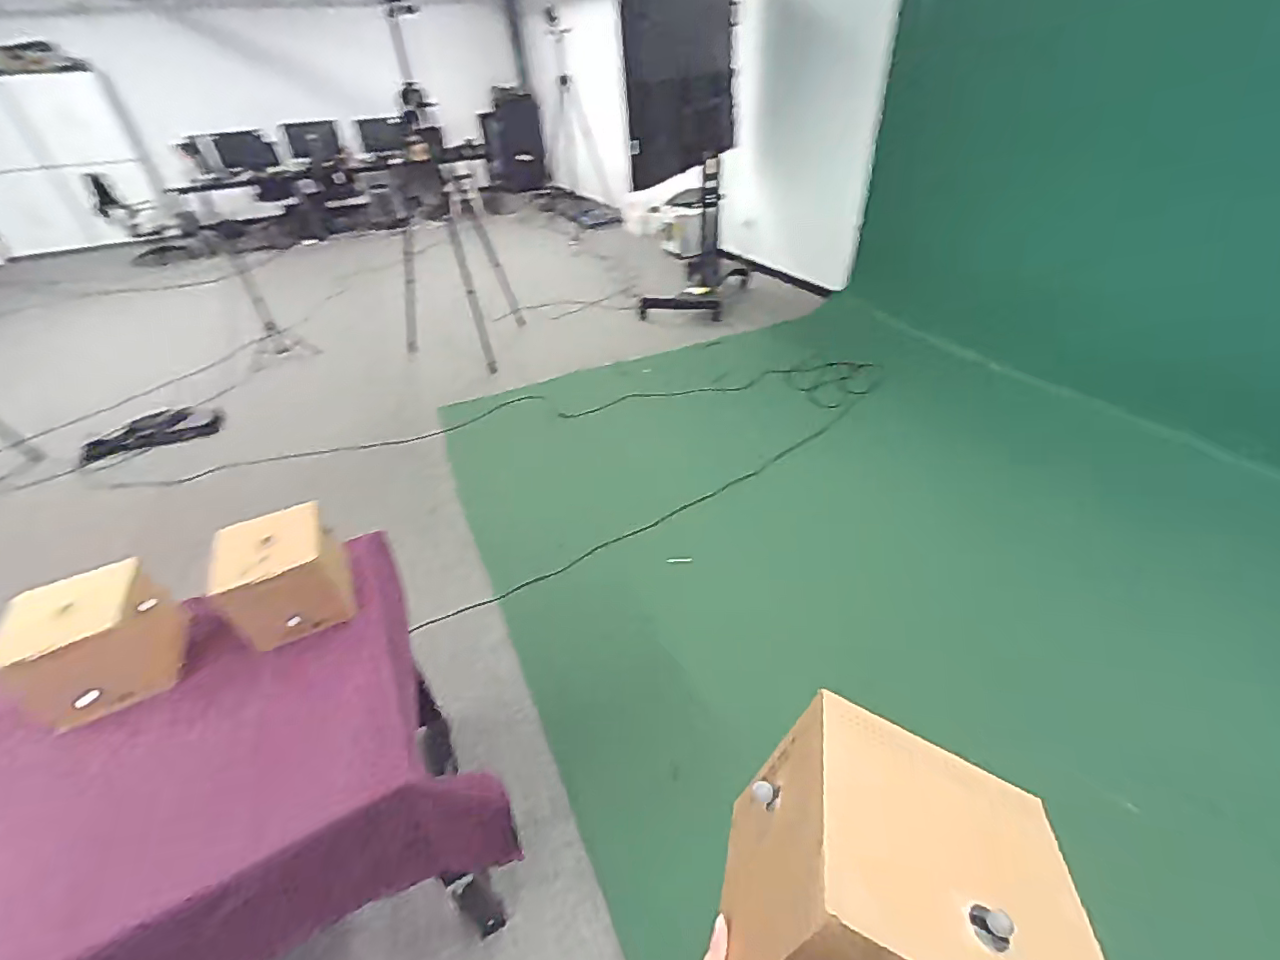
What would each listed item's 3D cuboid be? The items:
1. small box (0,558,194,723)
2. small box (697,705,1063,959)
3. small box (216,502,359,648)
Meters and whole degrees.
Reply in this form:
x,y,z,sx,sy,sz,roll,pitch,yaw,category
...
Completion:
x,y,z,sx,sy,sz,roll,pitch,yaw,category
-0.906,0.272,0.924,0.168,0.176,0.179,-21,41,-20,small box
0.156,0.296,0.376,0.179,0.168,0.176,25,27,6,small box
-0.647,0.176,1.012,0.168,0.176,0.179,-20,43,-18,small box
